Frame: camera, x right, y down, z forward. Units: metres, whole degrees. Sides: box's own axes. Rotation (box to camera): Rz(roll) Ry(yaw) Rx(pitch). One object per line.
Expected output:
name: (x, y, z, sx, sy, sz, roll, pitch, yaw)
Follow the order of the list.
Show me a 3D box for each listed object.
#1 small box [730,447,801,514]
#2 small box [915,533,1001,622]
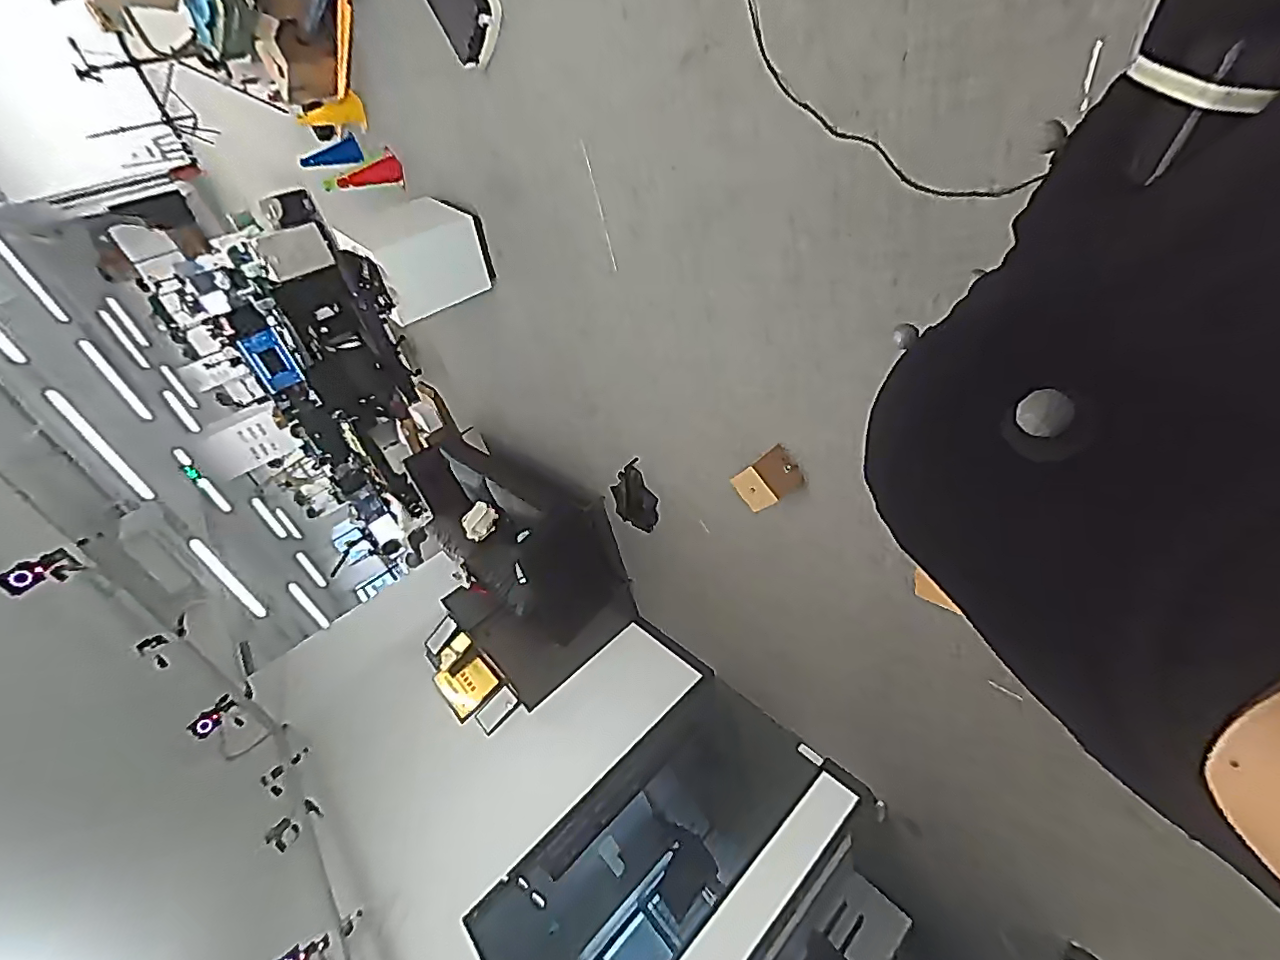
small box: (0.487, 0.002, 2.092, 0.168, 0.176, 0.179, 52, 153, 3)
small box: (0.961, 0.288, 1.636, 0.179, 0.176, 0.168, 25, 141, 47)
